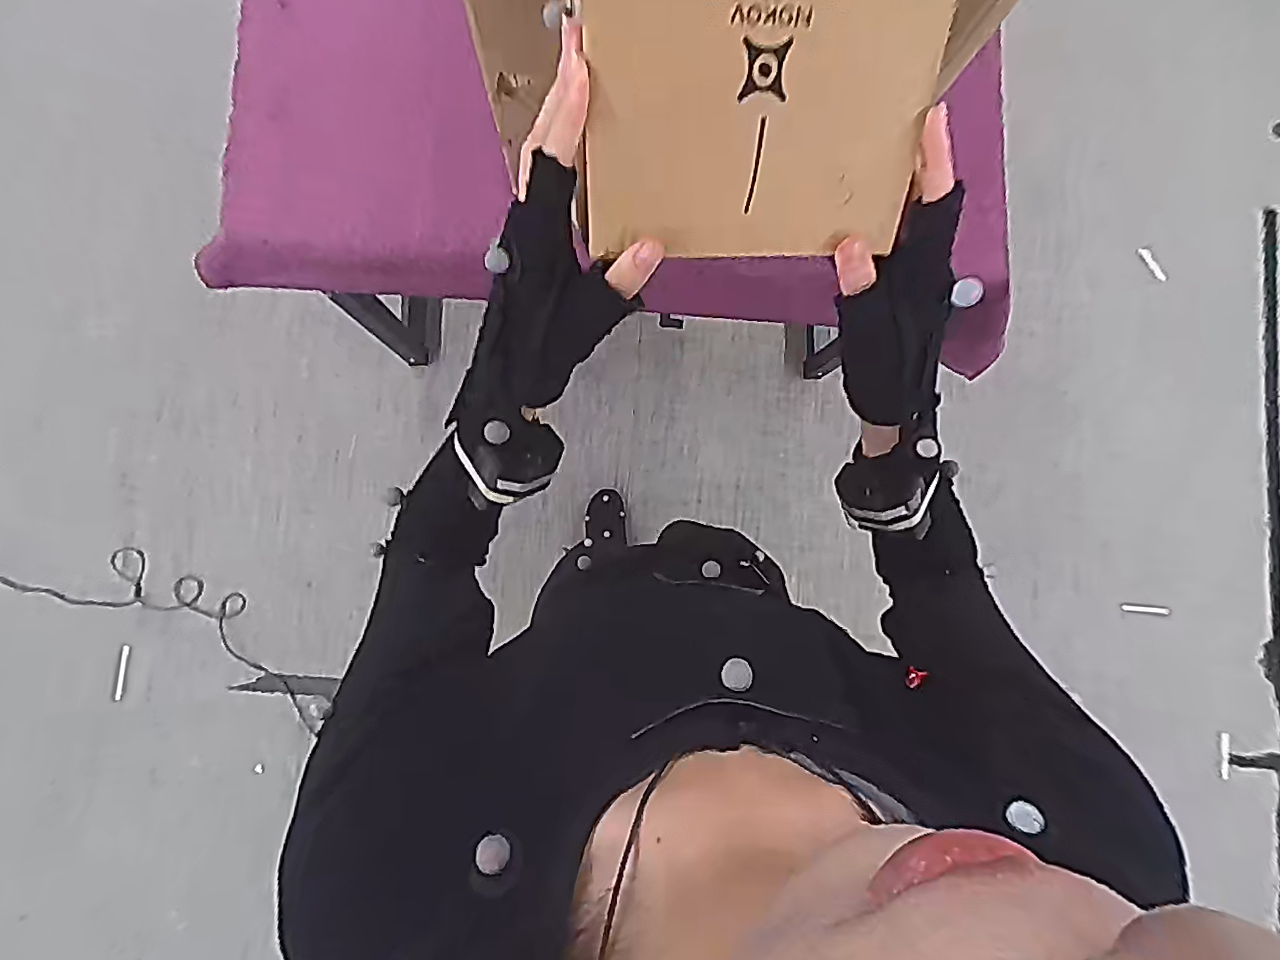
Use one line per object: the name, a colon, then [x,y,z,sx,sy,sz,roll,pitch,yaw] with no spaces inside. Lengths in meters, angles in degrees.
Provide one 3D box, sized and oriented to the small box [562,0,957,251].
small box: [0.044,-0.234,0.298,0.168,0.176,0.179,-4,124,-7]
